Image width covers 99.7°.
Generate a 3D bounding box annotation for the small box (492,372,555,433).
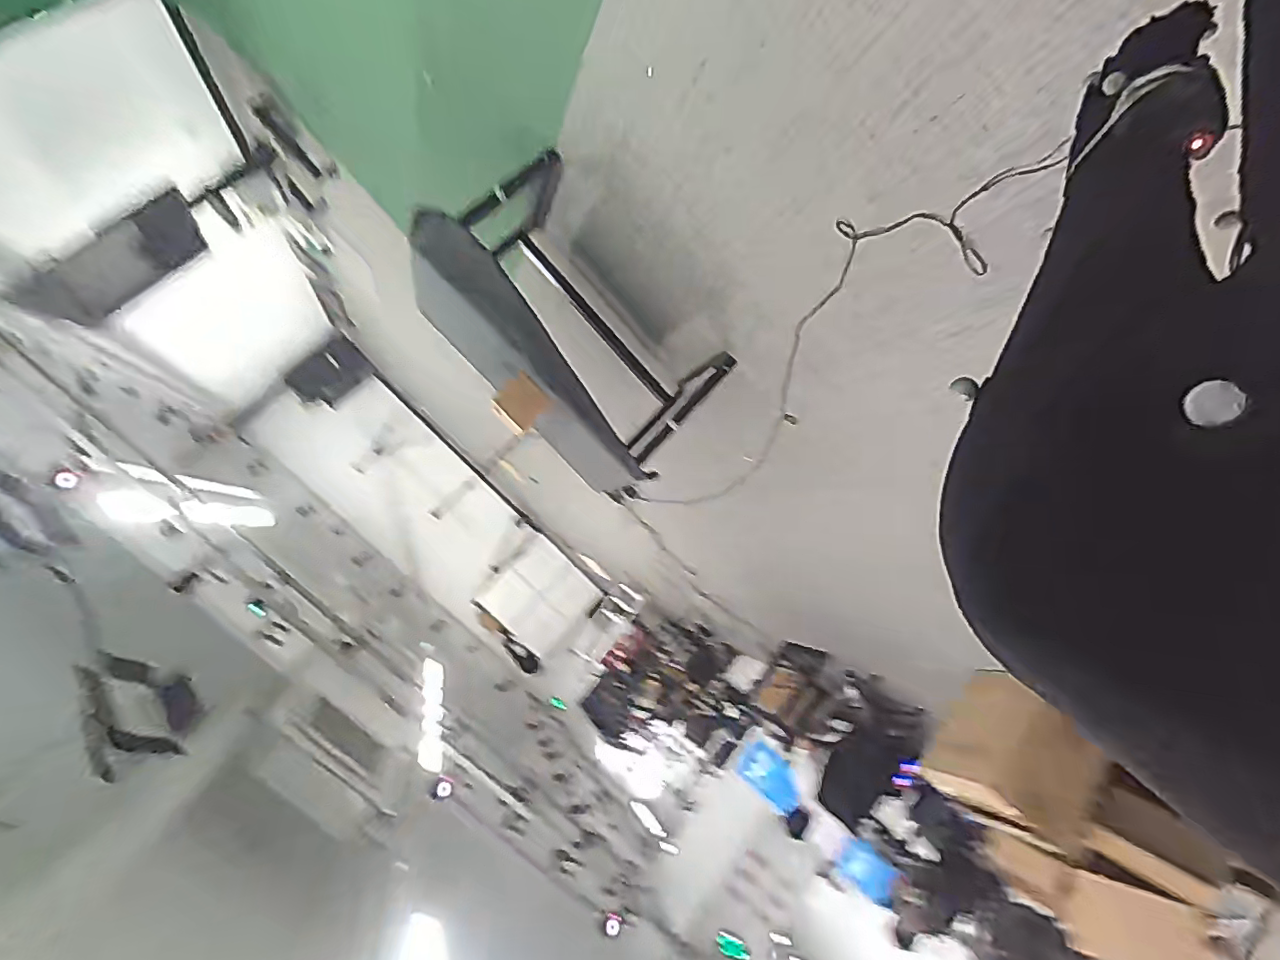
[{"bbox_3d":[-0.477,-0.321,2.207,0.179,0.176,0.168,47,162,-8],"label":"small box"}]
